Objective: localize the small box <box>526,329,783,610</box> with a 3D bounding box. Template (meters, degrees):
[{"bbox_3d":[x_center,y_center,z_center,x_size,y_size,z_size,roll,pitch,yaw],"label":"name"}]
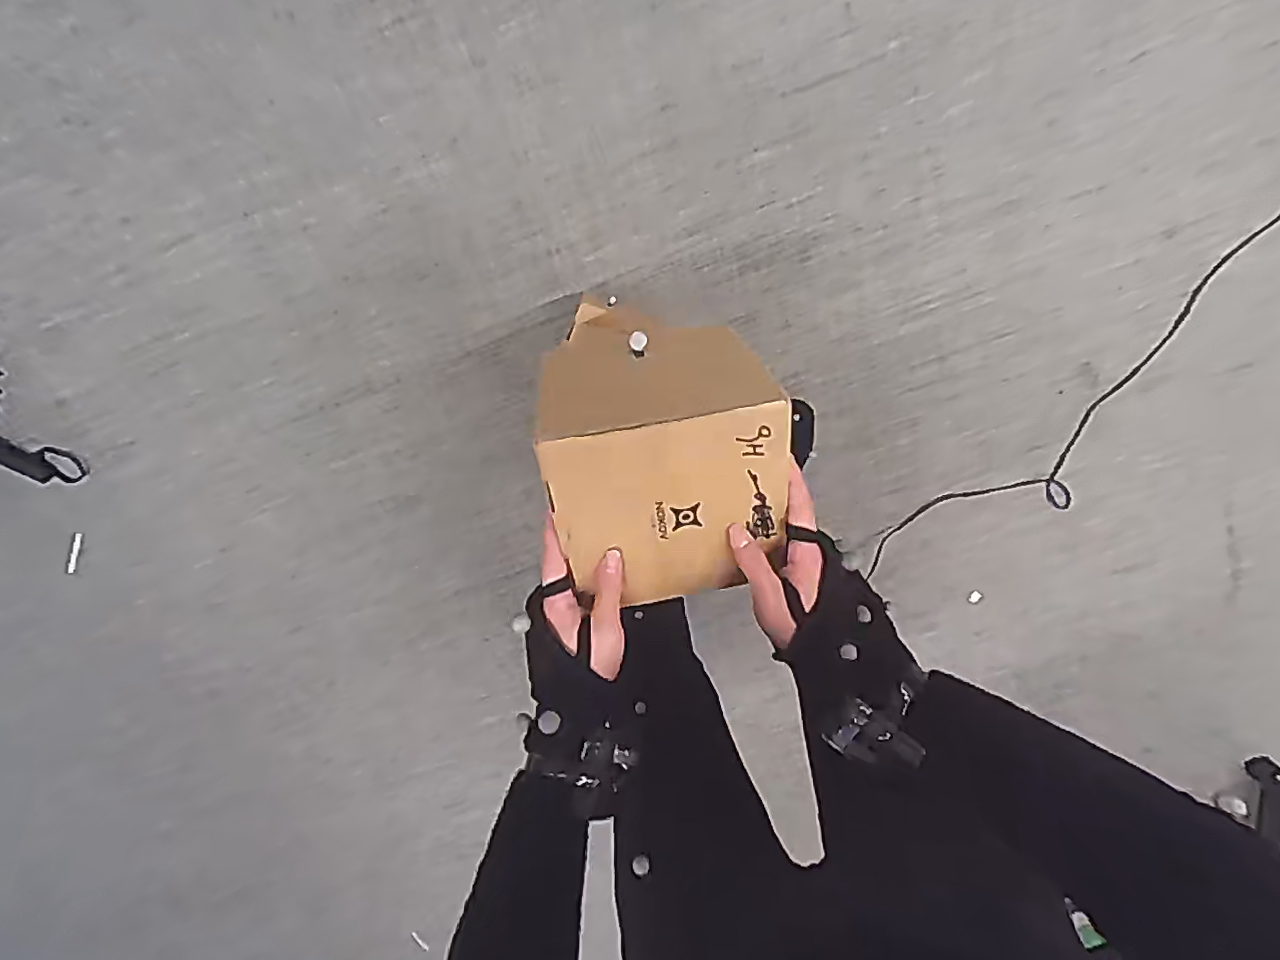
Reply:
[{"bbox_3d":[0.013,-0.016,0.469,0.179,0.176,0.168,-9,125,0],"label":"small box"}]

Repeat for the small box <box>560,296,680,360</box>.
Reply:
[{"bbox_3d":[-0.038,-0.186,0.876,0.179,0.176,0.168,19,113,-12],"label":"small box"}]
